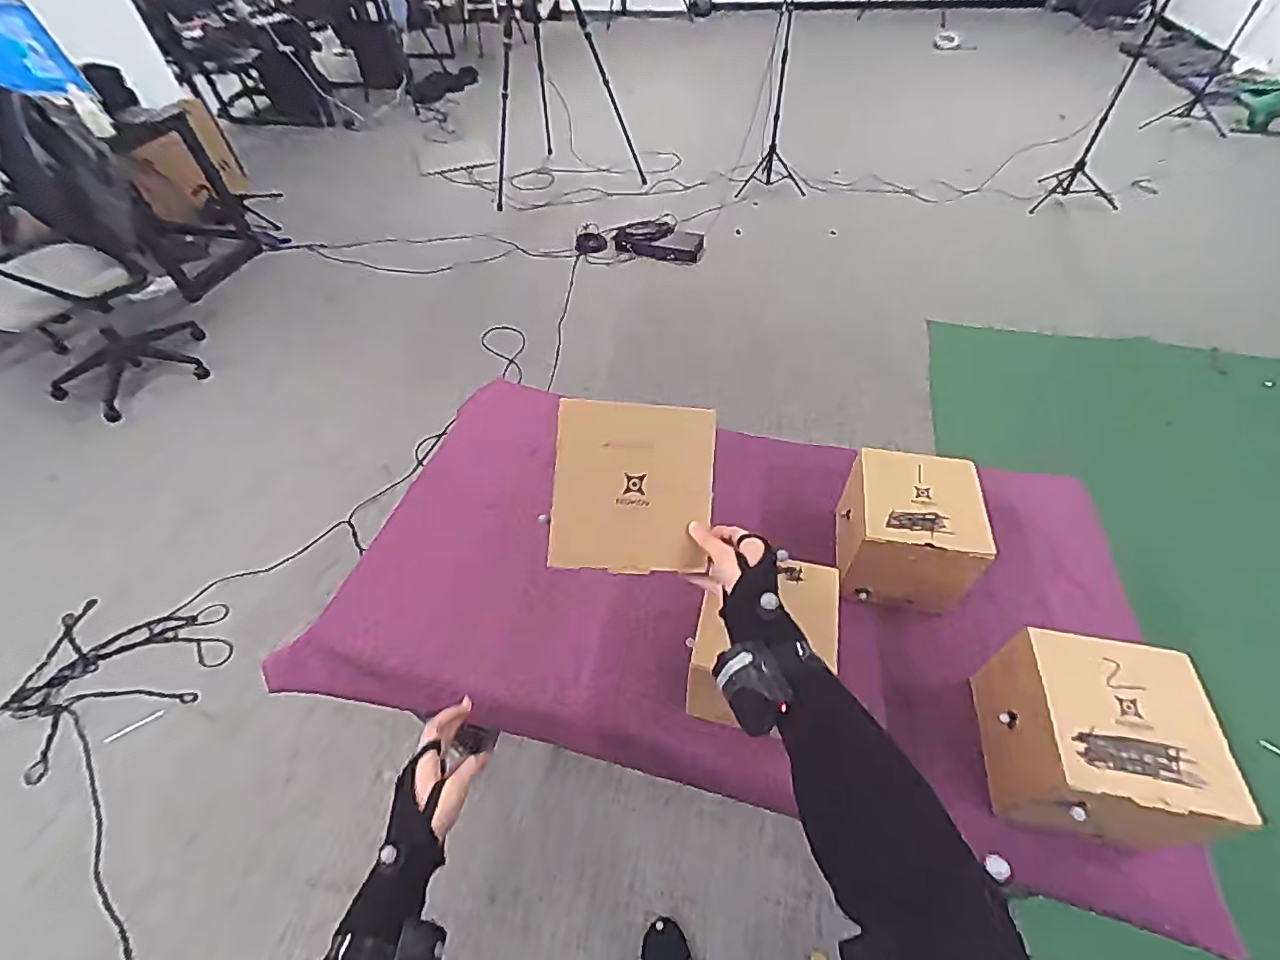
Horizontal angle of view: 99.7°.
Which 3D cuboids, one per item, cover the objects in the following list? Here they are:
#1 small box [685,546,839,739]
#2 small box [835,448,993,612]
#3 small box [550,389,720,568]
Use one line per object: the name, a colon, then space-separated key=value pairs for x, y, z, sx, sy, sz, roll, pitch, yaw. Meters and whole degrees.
small box: x=0.157 y=0.218 z=0.716 sx=0.168 sy=0.176 sz=0.179 roll=11 pitch=50 yaw=11
small box: x=0.402 y=0.079 z=0.826 sx=0.168 sy=0.176 sz=0.179 roll=9 pitch=50 yaw=10
small box: x=-0.012 y=0.000 z=0.639 sx=0.168 sy=0.176 sz=0.179 roll=5 pitch=89 yaw=-7
